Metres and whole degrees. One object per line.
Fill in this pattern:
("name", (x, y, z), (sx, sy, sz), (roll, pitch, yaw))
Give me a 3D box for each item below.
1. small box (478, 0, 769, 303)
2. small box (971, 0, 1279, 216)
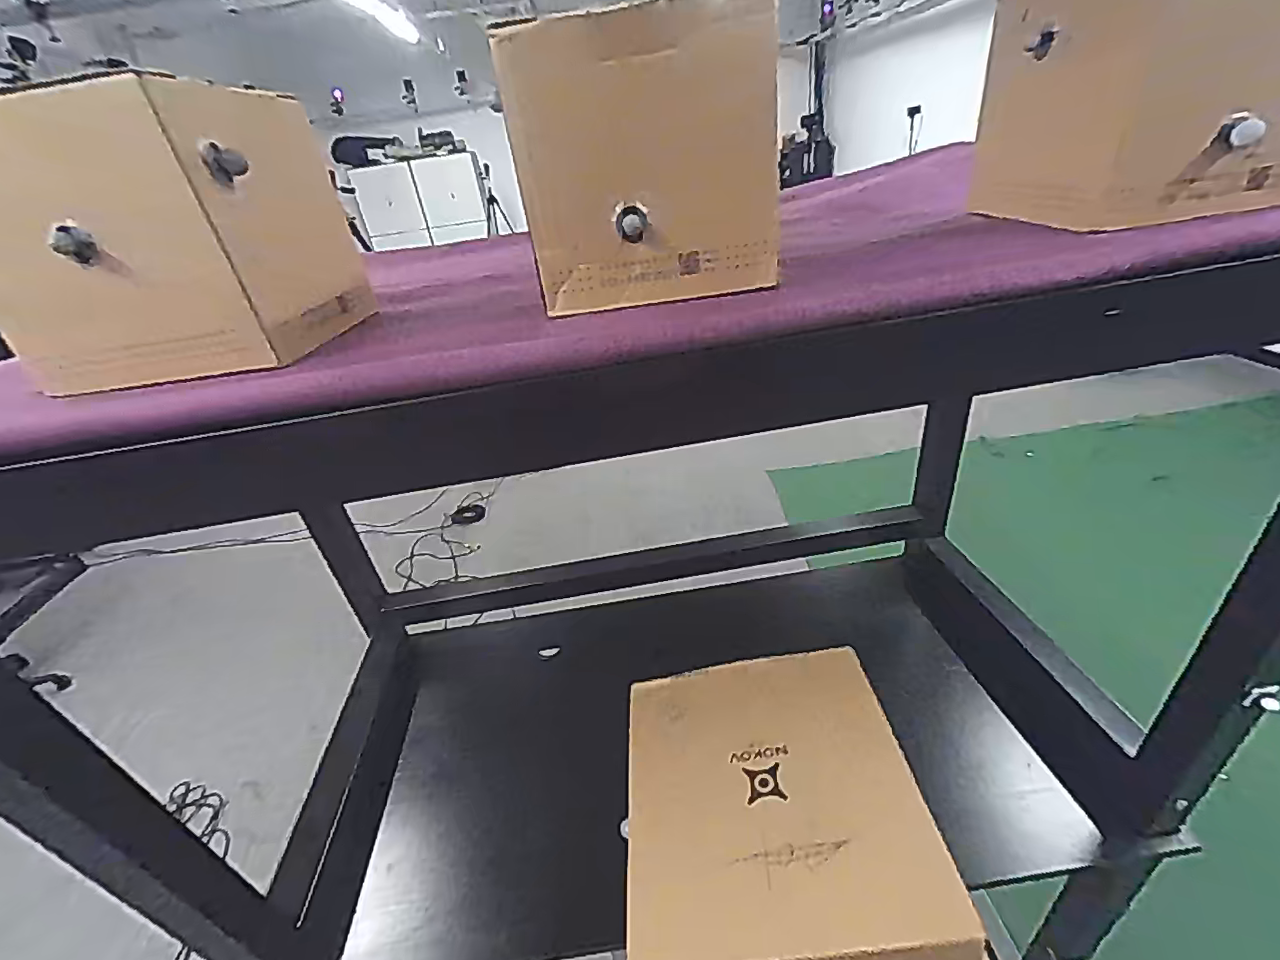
("small box", (-0.002, -0.242, 0.410), (0.168, 0.176, 0.179), (-7, 31, 3))
("small box", (0.379, -0.304, 0.401), (0.168, 0.176, 0.179), (-8, 32, 5))
